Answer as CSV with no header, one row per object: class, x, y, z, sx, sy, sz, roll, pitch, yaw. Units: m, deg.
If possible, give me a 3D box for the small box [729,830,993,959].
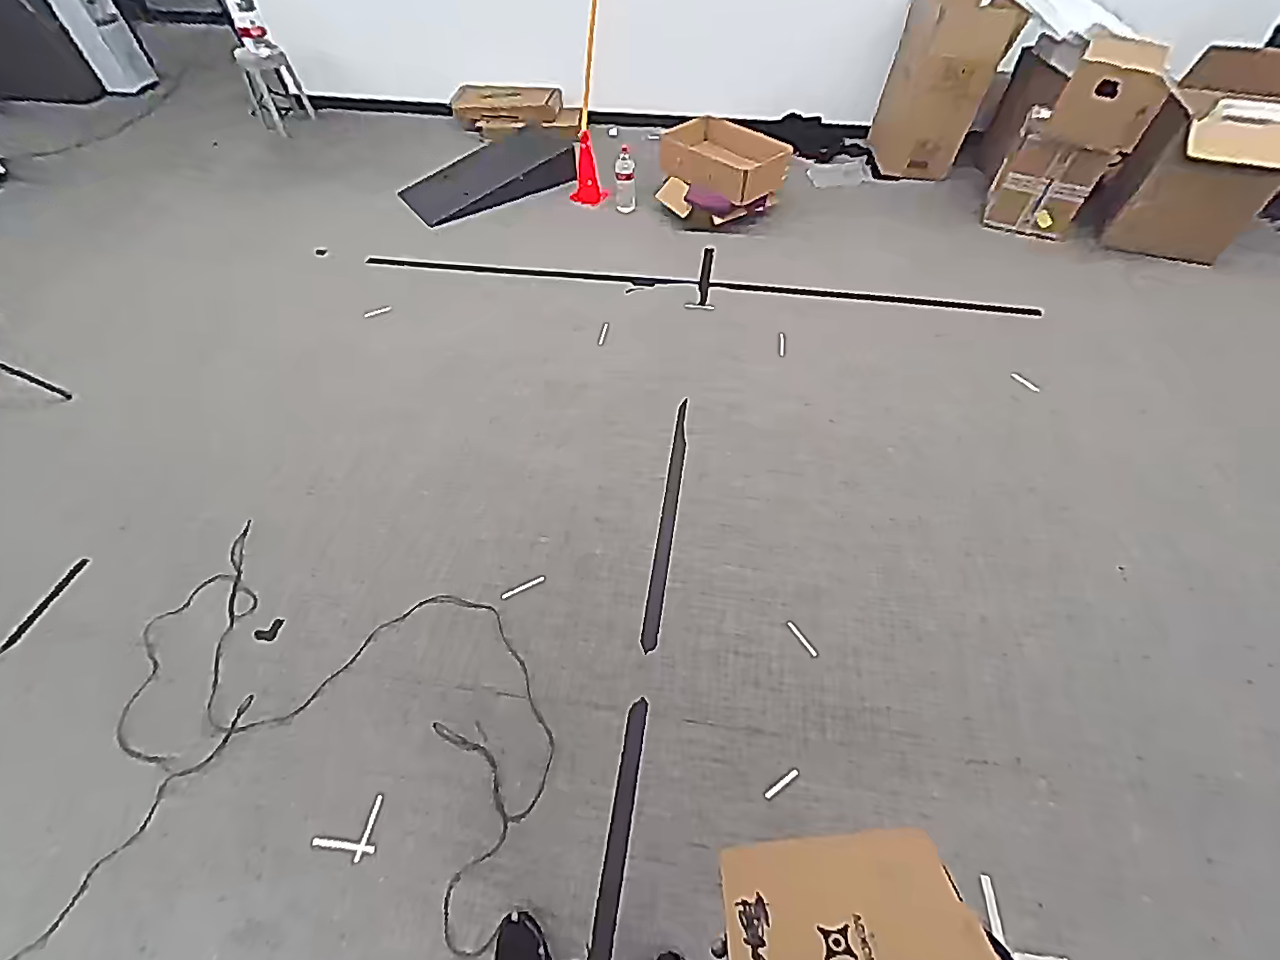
small box,0.171,0.410,0.414,0.179,0.176,0.168,-10,15,7
